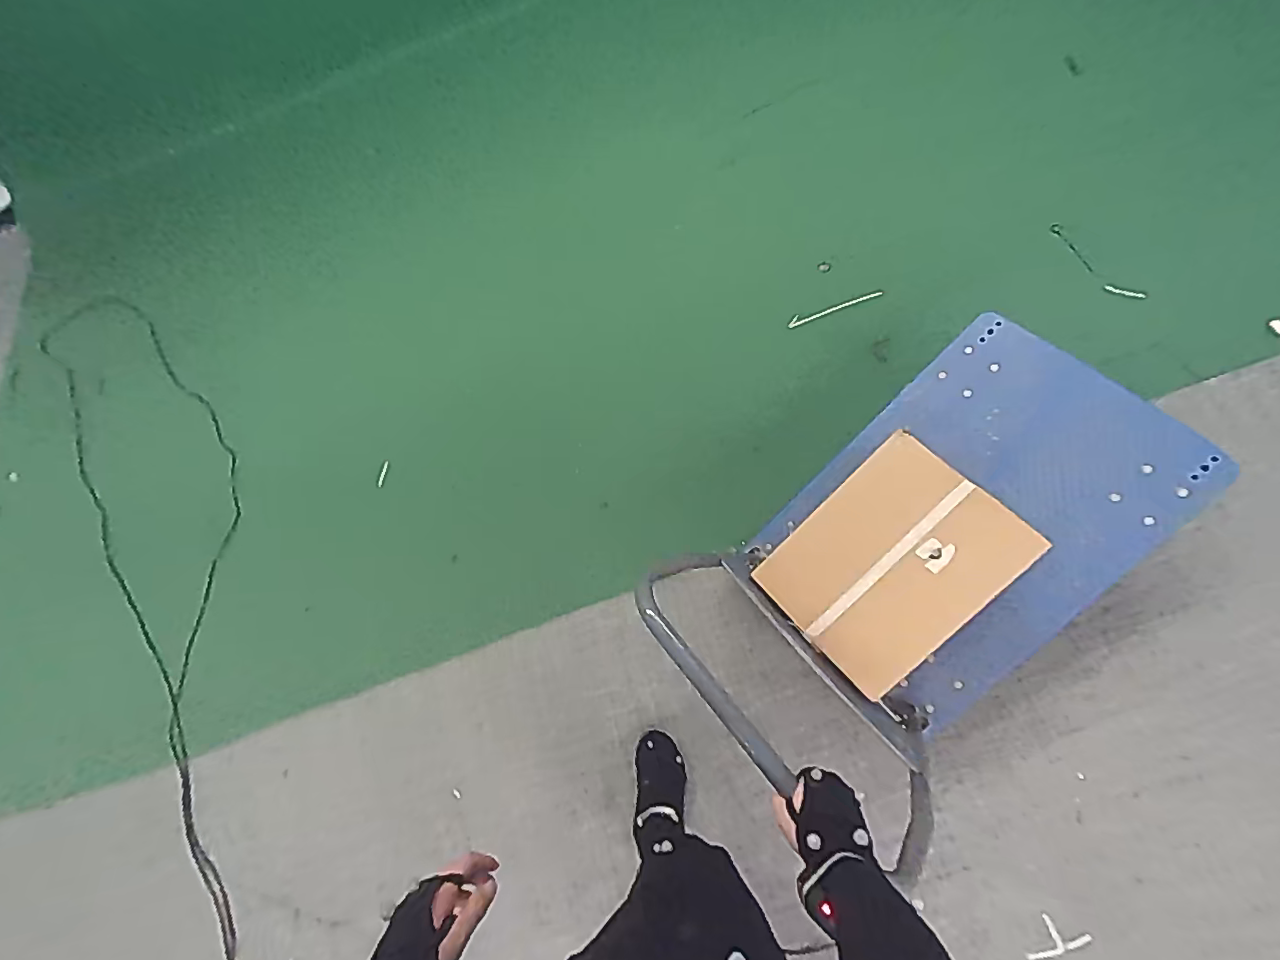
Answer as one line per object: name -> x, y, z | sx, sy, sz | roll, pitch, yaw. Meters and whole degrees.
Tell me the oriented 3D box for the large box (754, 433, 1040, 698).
large box -> 0.511, 0.183, 1.135 | 0.408, 0.320, 0.320 | -46, 66, 8
